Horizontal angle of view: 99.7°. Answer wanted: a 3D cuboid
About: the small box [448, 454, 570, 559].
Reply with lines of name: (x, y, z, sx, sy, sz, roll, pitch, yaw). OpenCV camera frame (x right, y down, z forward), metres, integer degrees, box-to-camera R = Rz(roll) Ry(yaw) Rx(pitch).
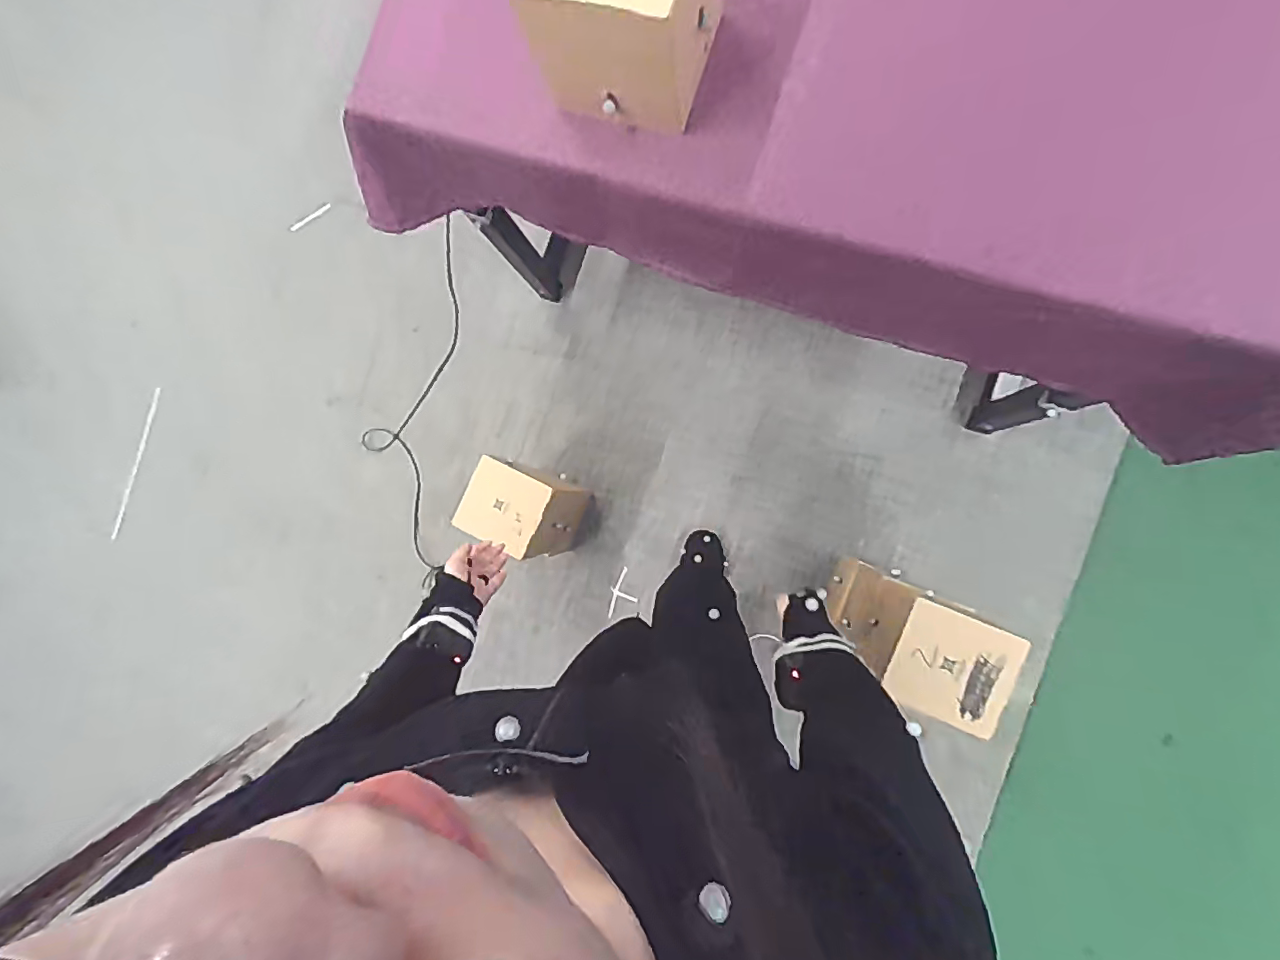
small box: (-0.282, 0.059, 1.200, 0.179, 0.176, 0.168, 26, 92, 7)

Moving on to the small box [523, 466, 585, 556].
small box: (-0.255, 0.075, 1.362, 0.168, 0.176, 0.179, 23, 90, 8)

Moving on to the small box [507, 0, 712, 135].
small box: (-0.021, -0.534, 0.615, 0.179, 0.176, 0.168, 18, 90, 8)

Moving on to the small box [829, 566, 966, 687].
small box: (0.500, 0.280, 1.082, 0.179, 0.176, 0.168, 21, 92, 7)

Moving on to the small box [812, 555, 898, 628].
small box: (0.516, 0.281, 1.244, 0.179, 0.176, 0.168, 23, 91, 7)
